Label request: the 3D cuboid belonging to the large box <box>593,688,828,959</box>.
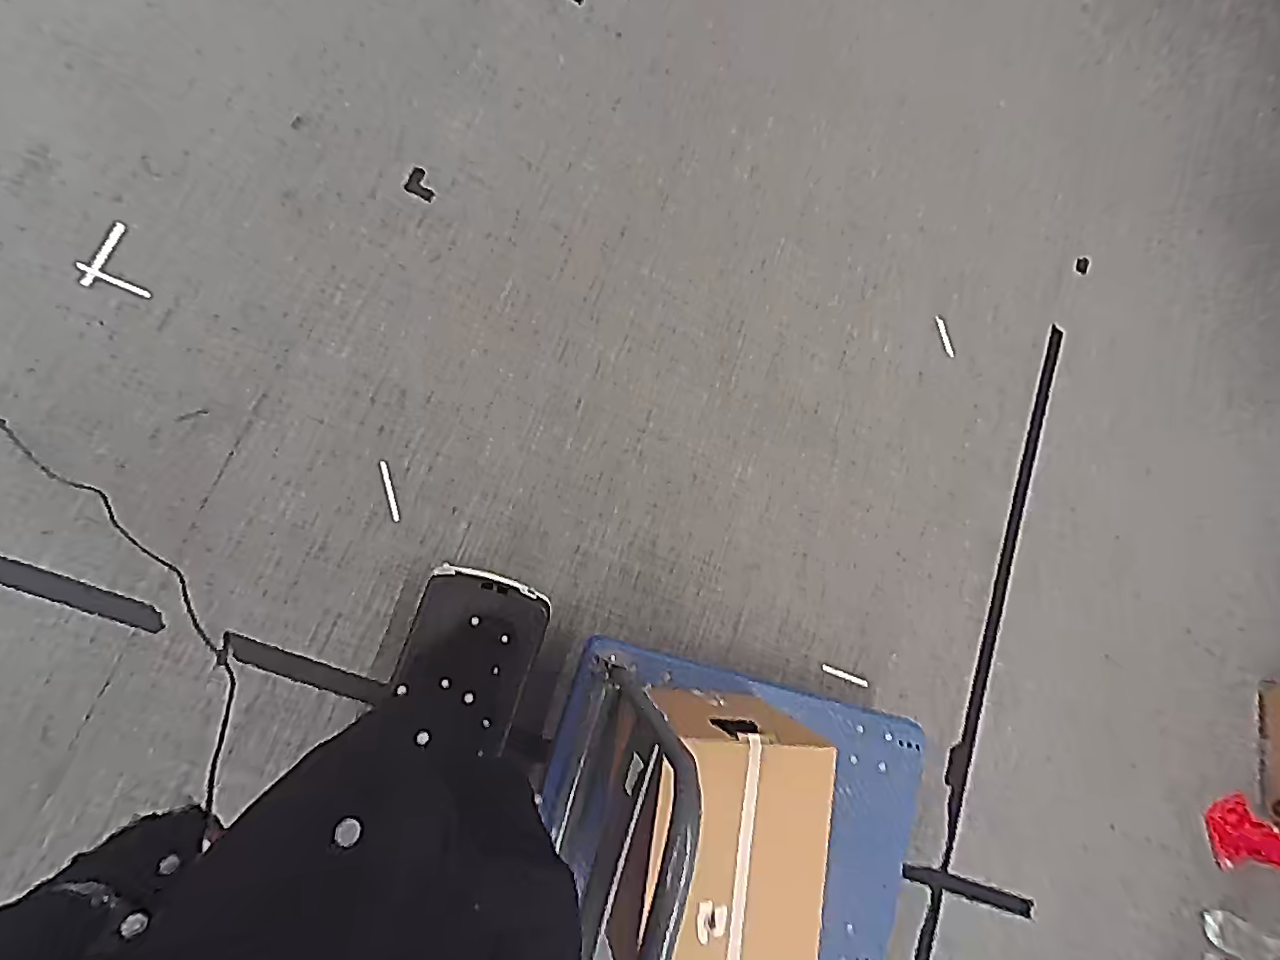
[{"bbox_3d":[0.114,0.638,1.009,0.320,0.320,0.408,11,82,-13],"label":"large box"}]
